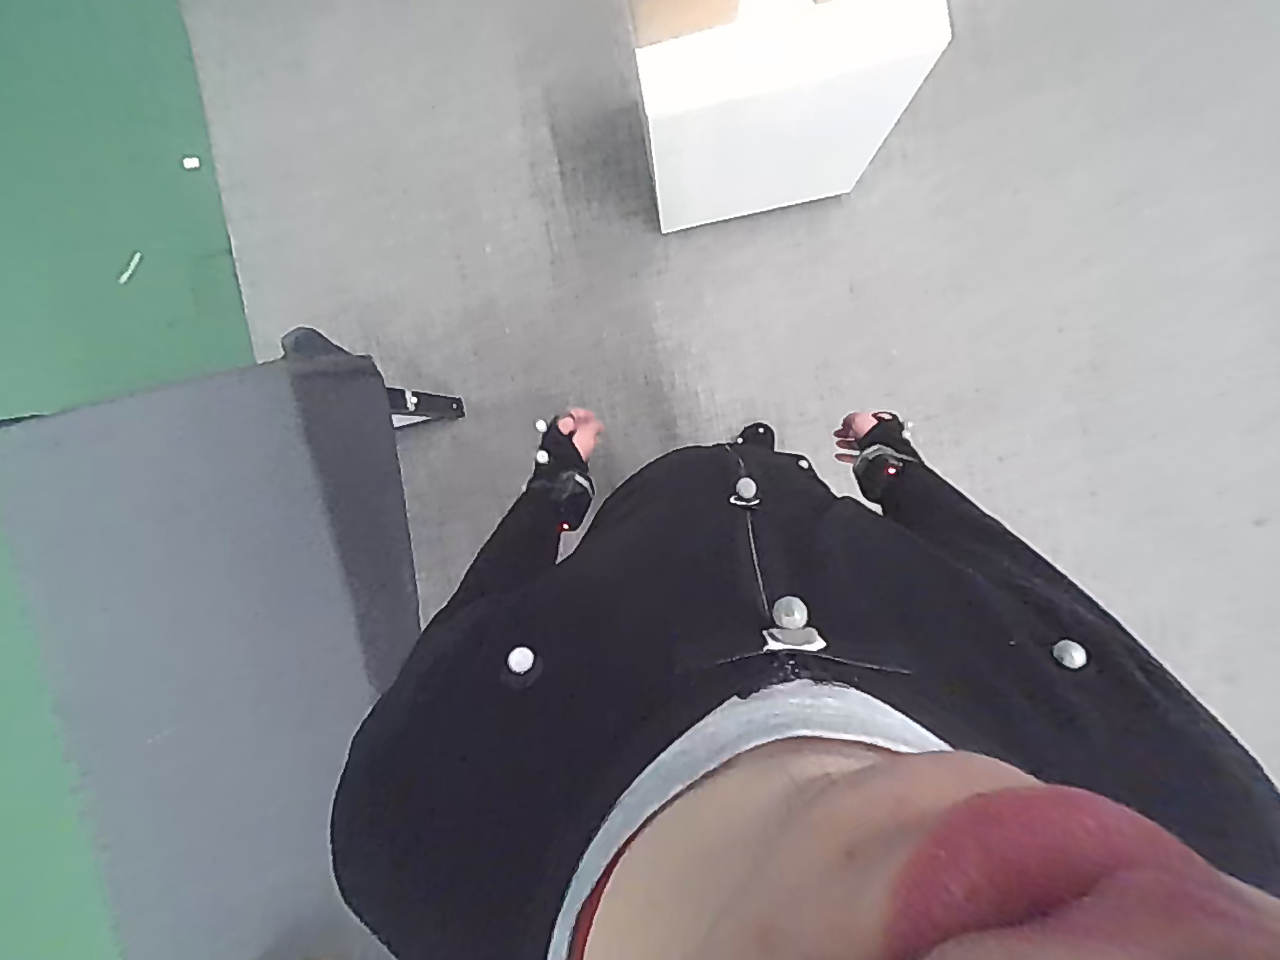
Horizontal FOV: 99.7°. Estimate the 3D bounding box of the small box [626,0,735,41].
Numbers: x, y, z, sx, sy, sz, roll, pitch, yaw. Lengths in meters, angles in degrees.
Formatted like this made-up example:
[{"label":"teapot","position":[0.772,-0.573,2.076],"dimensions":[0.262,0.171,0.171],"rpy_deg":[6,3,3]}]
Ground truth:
[{"label":"small box","position":[0.053,-0.818,0.818],"dimensions":[0.179,0.176,0.168],"rpy_deg":[-12,94,4]}]
